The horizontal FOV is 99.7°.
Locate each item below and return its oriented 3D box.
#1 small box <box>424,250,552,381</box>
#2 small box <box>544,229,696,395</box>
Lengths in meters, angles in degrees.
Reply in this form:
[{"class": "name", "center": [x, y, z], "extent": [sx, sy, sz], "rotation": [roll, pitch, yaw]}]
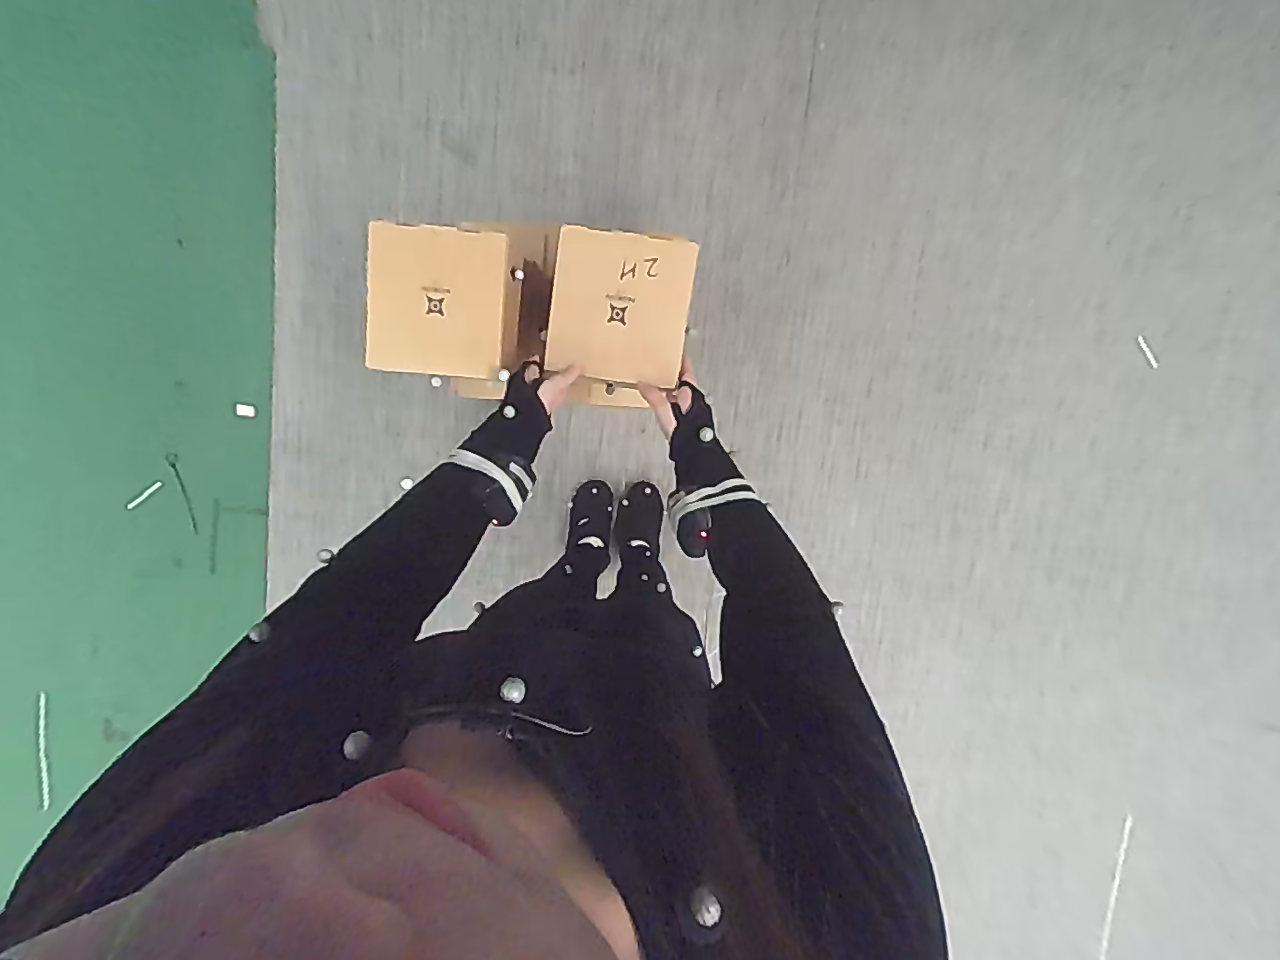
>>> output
[{"class": "small box", "center": [-0.245, -0.264, 0.904], "extent": [0.168, 0.176, 0.179], "rotation": [6, 99, -1]}, {"class": "small box", "center": [-0.022, -0.215, 0.739], "extent": [0.168, 0.176, 0.179], "rotation": [10, 98, 0]}]
